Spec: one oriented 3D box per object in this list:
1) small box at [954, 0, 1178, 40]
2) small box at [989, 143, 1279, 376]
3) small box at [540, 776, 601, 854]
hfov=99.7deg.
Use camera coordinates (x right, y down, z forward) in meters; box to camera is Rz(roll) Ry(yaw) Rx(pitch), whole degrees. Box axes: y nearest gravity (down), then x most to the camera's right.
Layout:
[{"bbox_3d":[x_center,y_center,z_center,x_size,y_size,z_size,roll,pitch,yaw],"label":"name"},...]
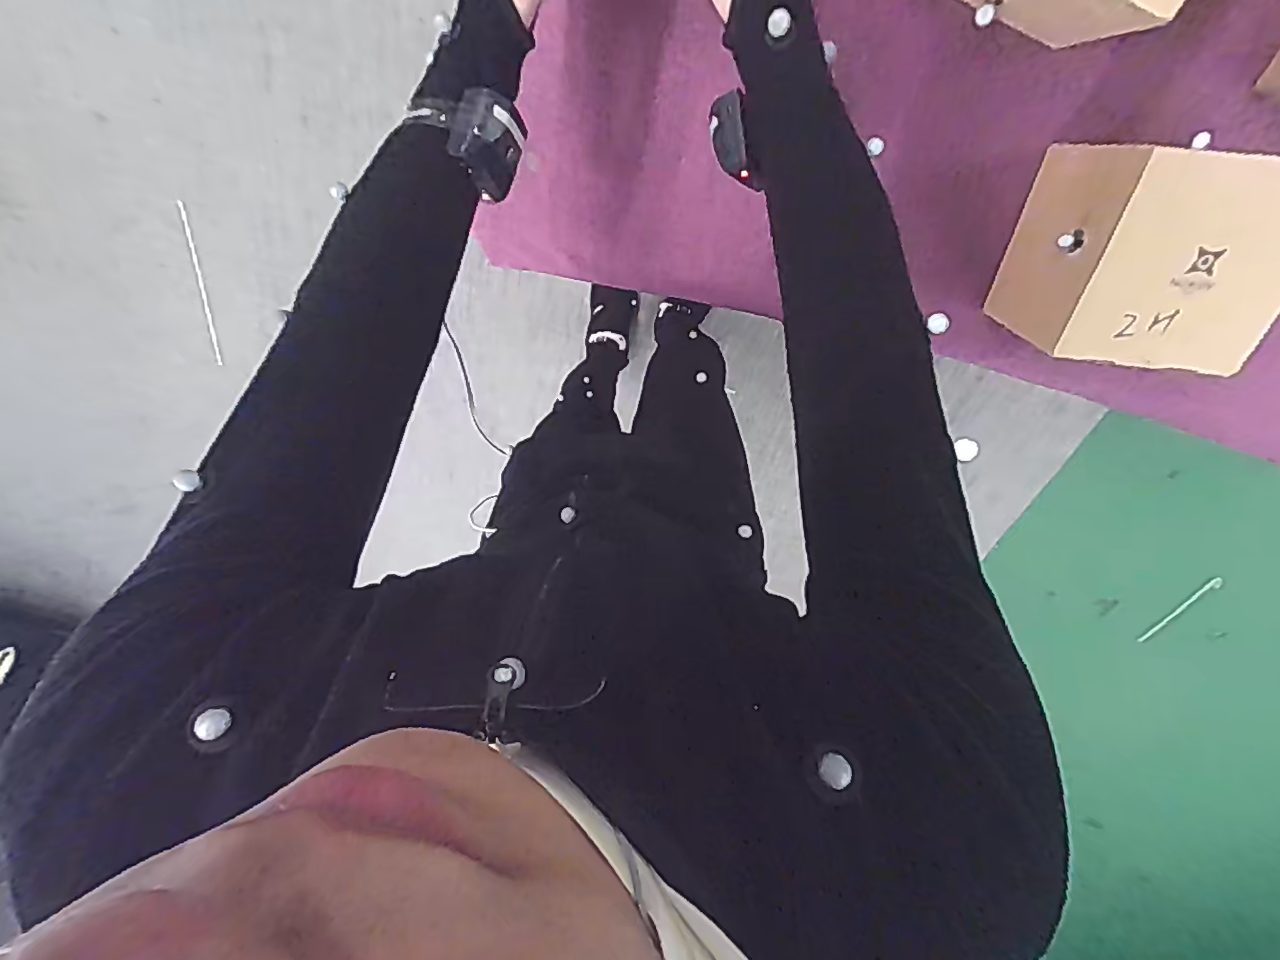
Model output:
[{"bbox_3d":[0.333,-0.462,0.401,0.179,0.176,0.168,22,124,-6],"label":"small box"},{"bbox_3d":[0.486,-0.222,0.533,0.168,0.176,0.179,8,123,4],"label":"small box"},{"bbox_3d":[-0.251,1.231,1.990,0.168,0.176,0.179,18,123,-2],"label":"small box"}]
